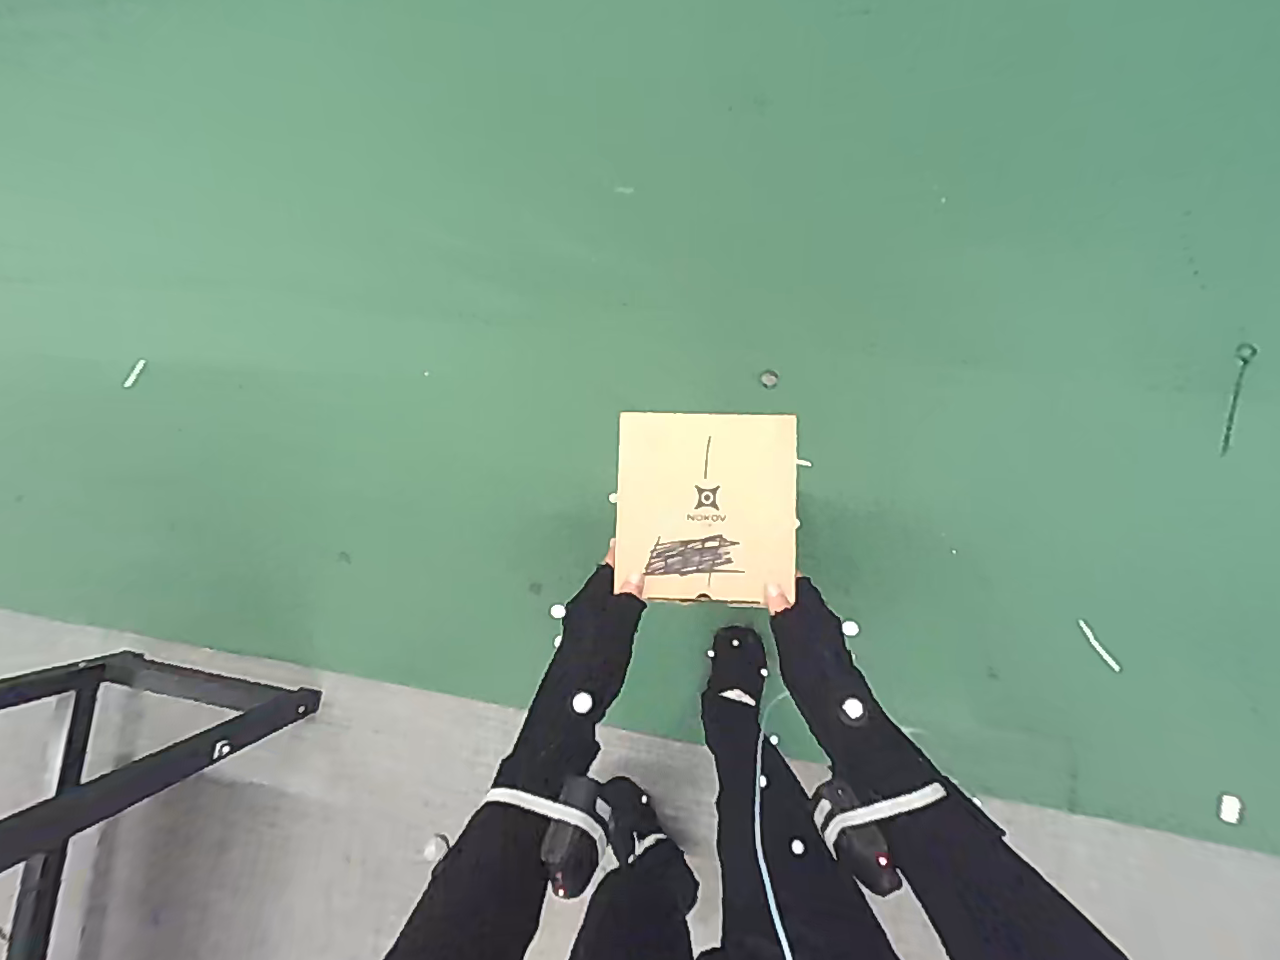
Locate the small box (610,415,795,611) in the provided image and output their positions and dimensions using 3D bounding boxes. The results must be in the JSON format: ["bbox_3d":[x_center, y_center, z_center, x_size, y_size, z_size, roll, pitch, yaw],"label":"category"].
[{"bbox_3d":[0.062,0.034,0.571,0.168,0.176,0.179,1,85,3],"label":"small box"}]
